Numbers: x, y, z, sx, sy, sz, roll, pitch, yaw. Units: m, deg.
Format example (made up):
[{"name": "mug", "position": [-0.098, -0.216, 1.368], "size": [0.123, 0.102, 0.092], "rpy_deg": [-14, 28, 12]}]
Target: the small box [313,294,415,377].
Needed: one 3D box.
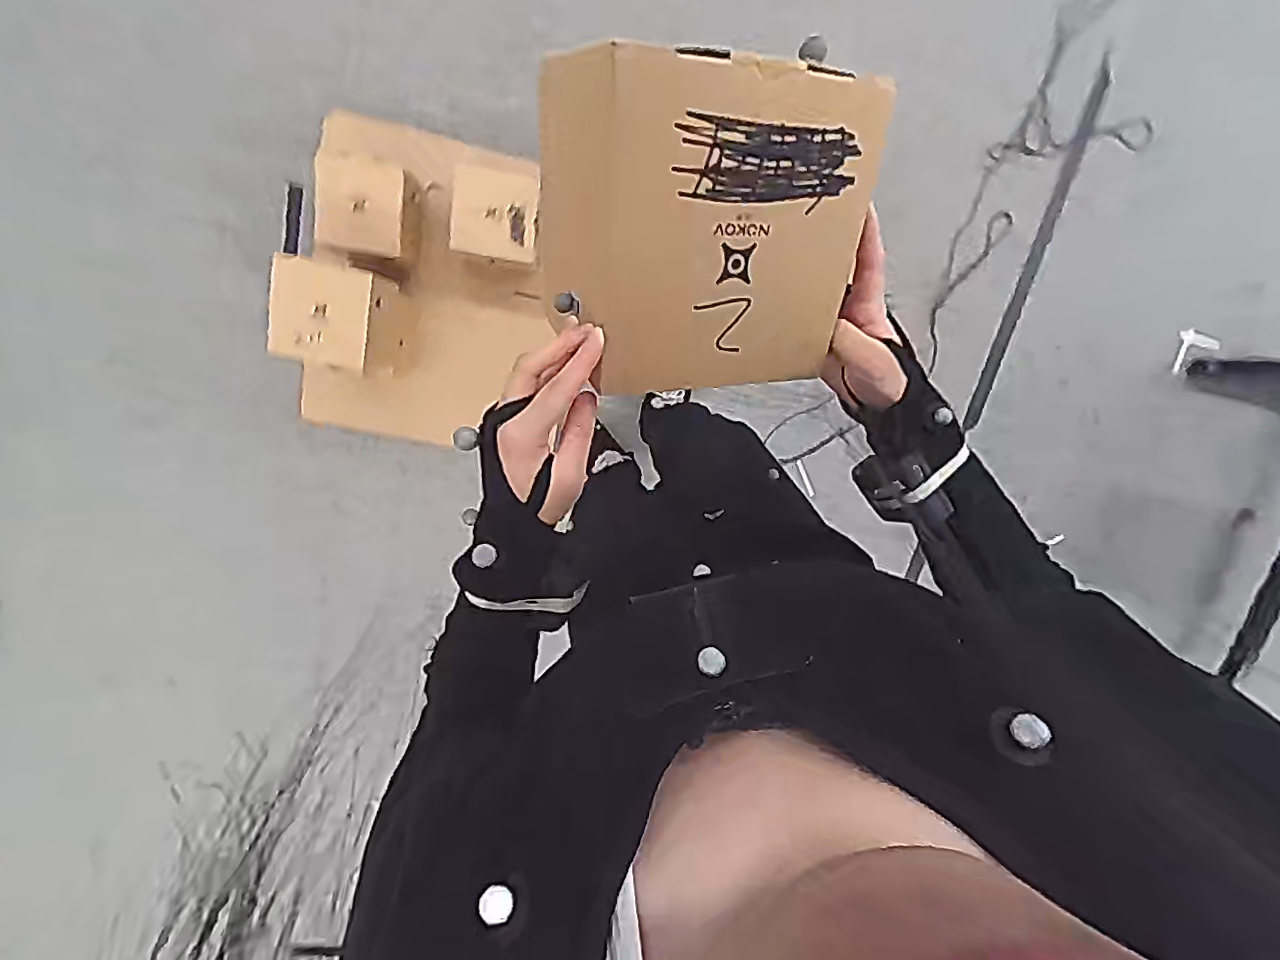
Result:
[{"name": "small box", "position": [-0.607, -0.333, 1.203], "size": [0.168, 0.176, 0.179], "rpy_deg": [5, 104, -10]}]

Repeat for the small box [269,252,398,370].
[{"name": "small box", "position": [-0.578, -0.316, 1.039], "size": [0.168, 0.176, 0.179], "rpy_deg": [9, 102, -10]}]

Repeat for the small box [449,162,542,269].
[{"name": "small box", "position": [-0.311, -0.571, 1.190], "size": [0.179, 0.176, 0.168], "rpy_deg": [6, 103, -10]}]

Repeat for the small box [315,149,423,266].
[{"name": "small box", "position": [-0.570, -0.570, 1.153], "size": [0.168, 0.176, 0.179], "rpy_deg": [5, 104, -9]}]
